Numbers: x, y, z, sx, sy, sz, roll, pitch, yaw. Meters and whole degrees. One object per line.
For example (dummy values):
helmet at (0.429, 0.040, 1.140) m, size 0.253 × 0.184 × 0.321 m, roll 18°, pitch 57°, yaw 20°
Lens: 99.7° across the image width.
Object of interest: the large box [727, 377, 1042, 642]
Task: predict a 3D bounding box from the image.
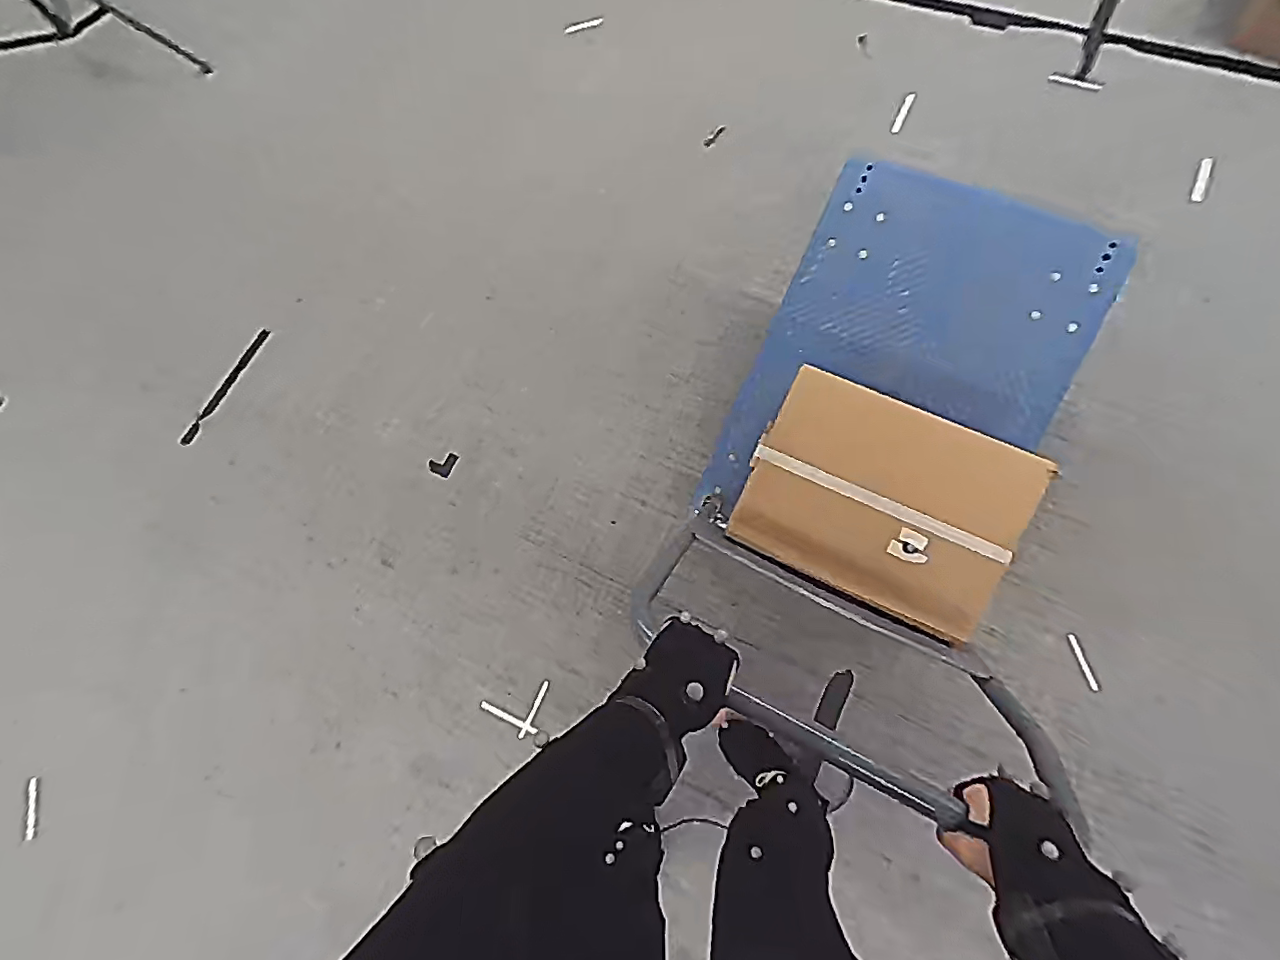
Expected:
large box at (0.409, 0.040, 1.020) m, size 0.408 × 0.320 × 0.320 m, roll 24°, pitch 97°, yaw 10°
